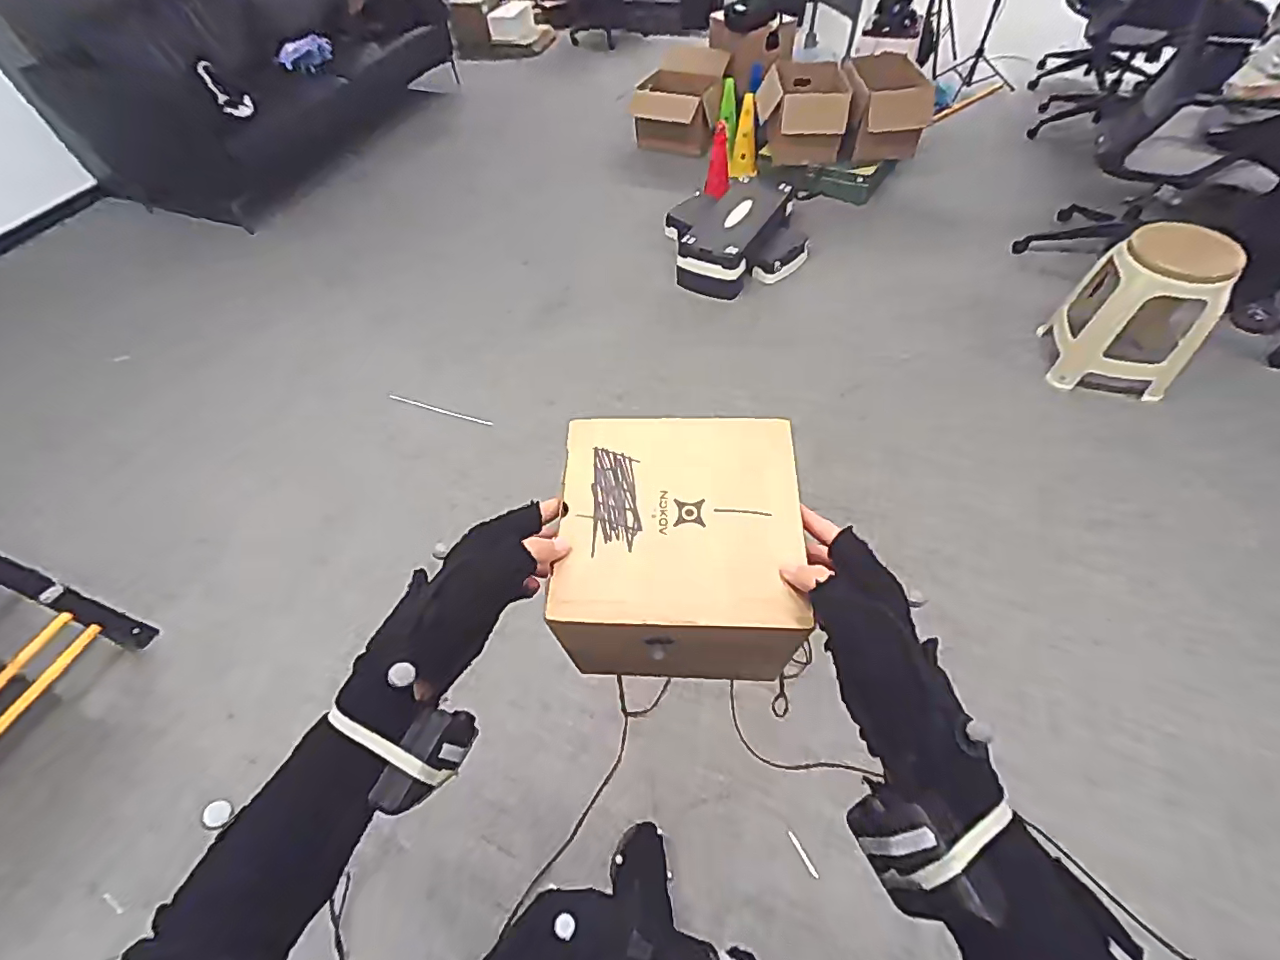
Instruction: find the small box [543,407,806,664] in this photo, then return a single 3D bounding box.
[{"bbox_3d":[0.030,0.054,0.461,0.179,0.176,0.168,1,59,4],"label":"small box"}]
